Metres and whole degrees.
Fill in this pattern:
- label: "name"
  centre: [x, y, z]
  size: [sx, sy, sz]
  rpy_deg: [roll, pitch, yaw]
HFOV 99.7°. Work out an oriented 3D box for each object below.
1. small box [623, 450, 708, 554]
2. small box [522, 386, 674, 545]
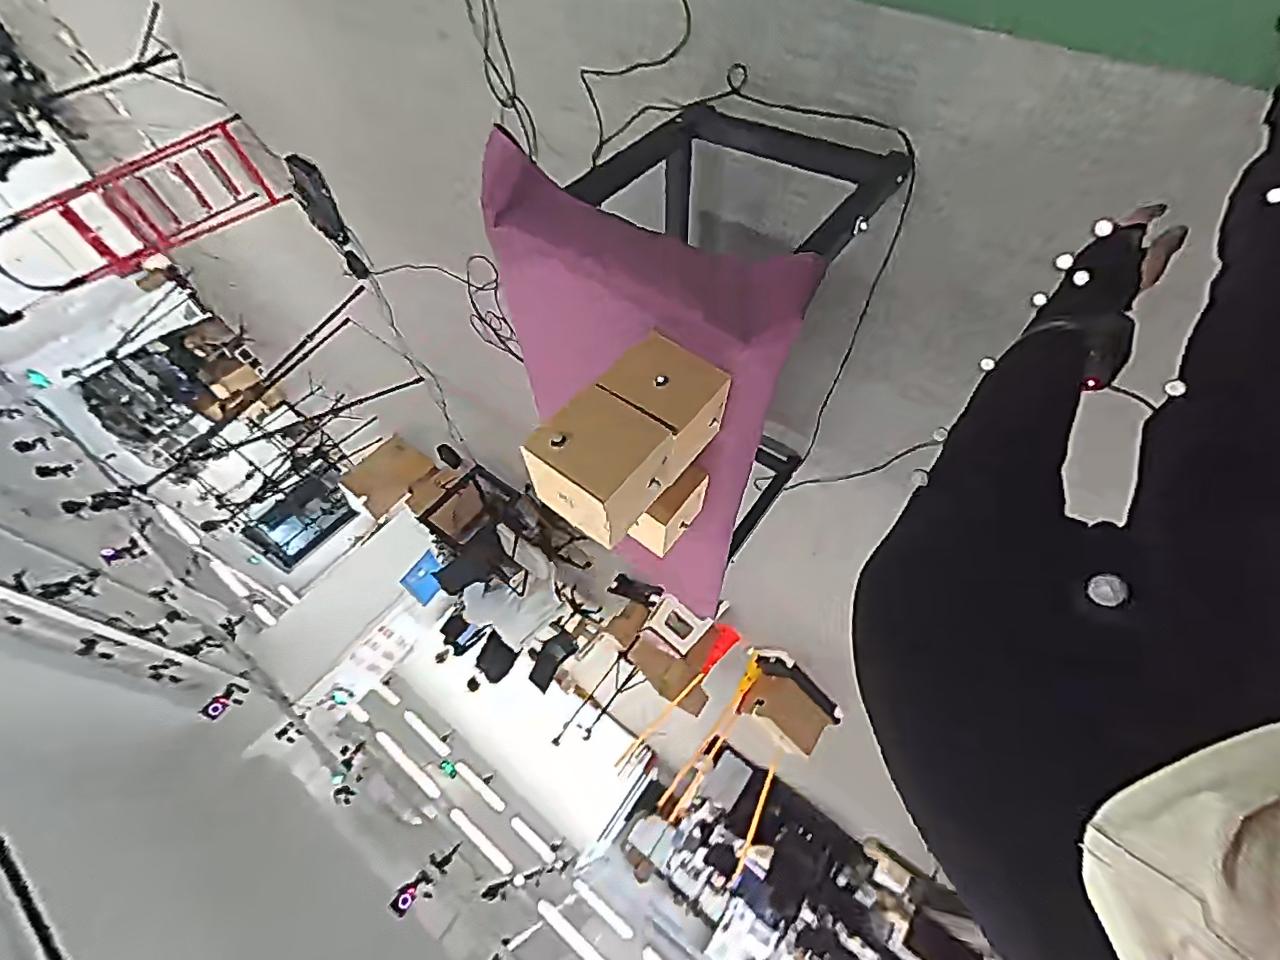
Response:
- label: "small box"
  centre: [0.037, 0.034, 1.252]
  size: [0.179, 0.176, 0.168]
  rpy_deg: [35, 154, 19]
- label: "small box"
  centre: [-0.065, -0.031, 0.906]
  size: [0.179, 0.176, 0.168]
  rpy_deg: [34, 154, 19]
